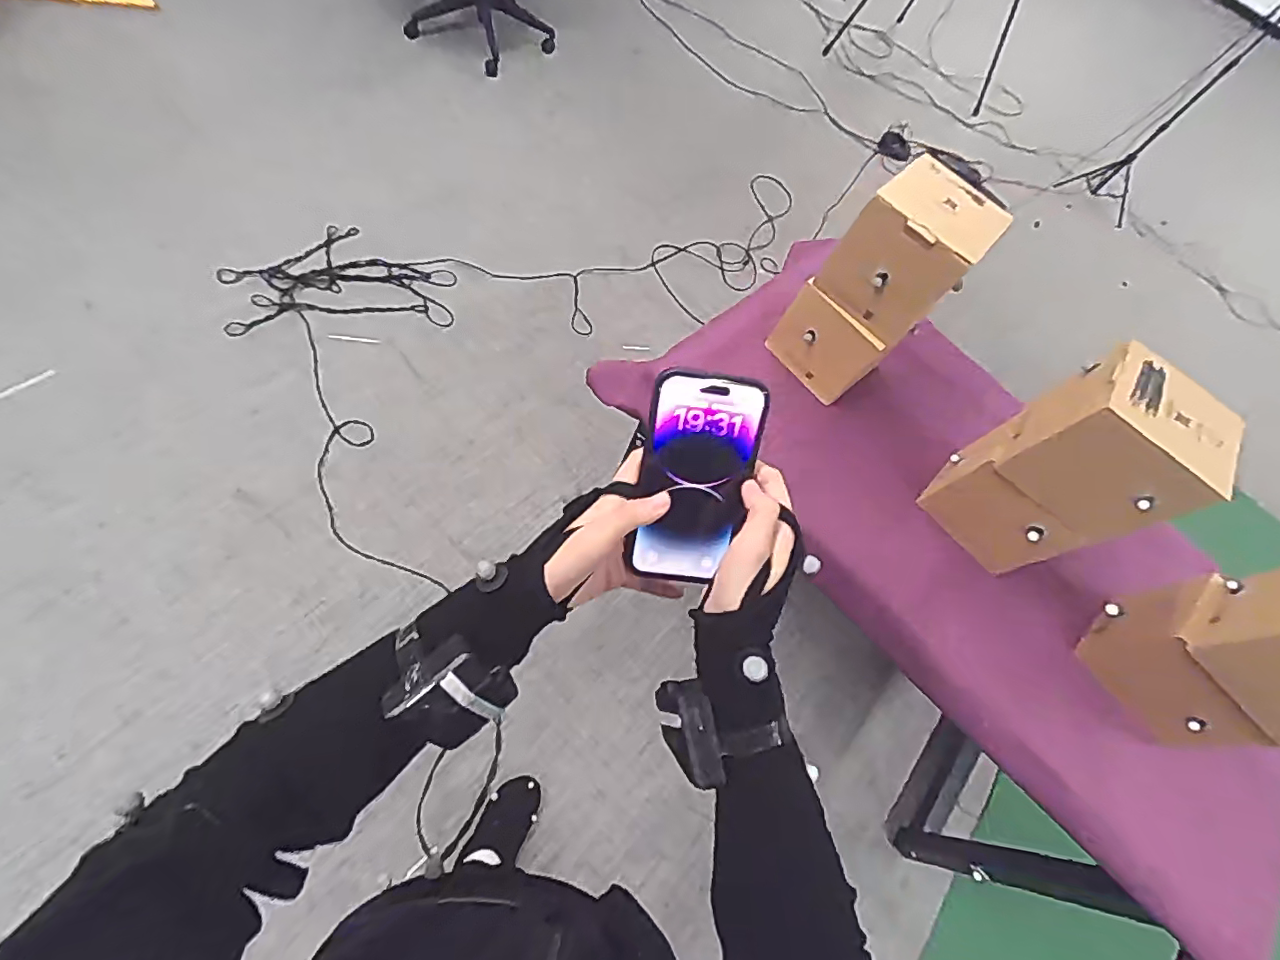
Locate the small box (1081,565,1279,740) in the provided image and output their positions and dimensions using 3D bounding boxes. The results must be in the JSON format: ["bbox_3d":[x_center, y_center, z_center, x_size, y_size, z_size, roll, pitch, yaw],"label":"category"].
[{"bbox_3d":[0.832,0.261,0.811,0.168,0.176,0.179,-31,75,-26],"label":"small box"}]

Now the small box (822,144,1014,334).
[{"bbox_3d":[0.406,-0.356,0.819,0.168,0.176,0.179,43,63,8],"label":"small box"}]

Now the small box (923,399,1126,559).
[{"bbox_3d":[0.612,0.009,0.877,0.168,0.176,0.179,-38,78,-27],"label":"small box"}]

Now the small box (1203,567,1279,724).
[{"bbox_3d":[0.864,0.205,0.660,0.168,0.176,0.179,-32,76,-26],"label":"small box"}]

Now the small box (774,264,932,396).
[{"bbox_3d":[0.363,-0.281,0.959,0.179,0.176,0.168,-37,78,-27],"label":"small box"}]
